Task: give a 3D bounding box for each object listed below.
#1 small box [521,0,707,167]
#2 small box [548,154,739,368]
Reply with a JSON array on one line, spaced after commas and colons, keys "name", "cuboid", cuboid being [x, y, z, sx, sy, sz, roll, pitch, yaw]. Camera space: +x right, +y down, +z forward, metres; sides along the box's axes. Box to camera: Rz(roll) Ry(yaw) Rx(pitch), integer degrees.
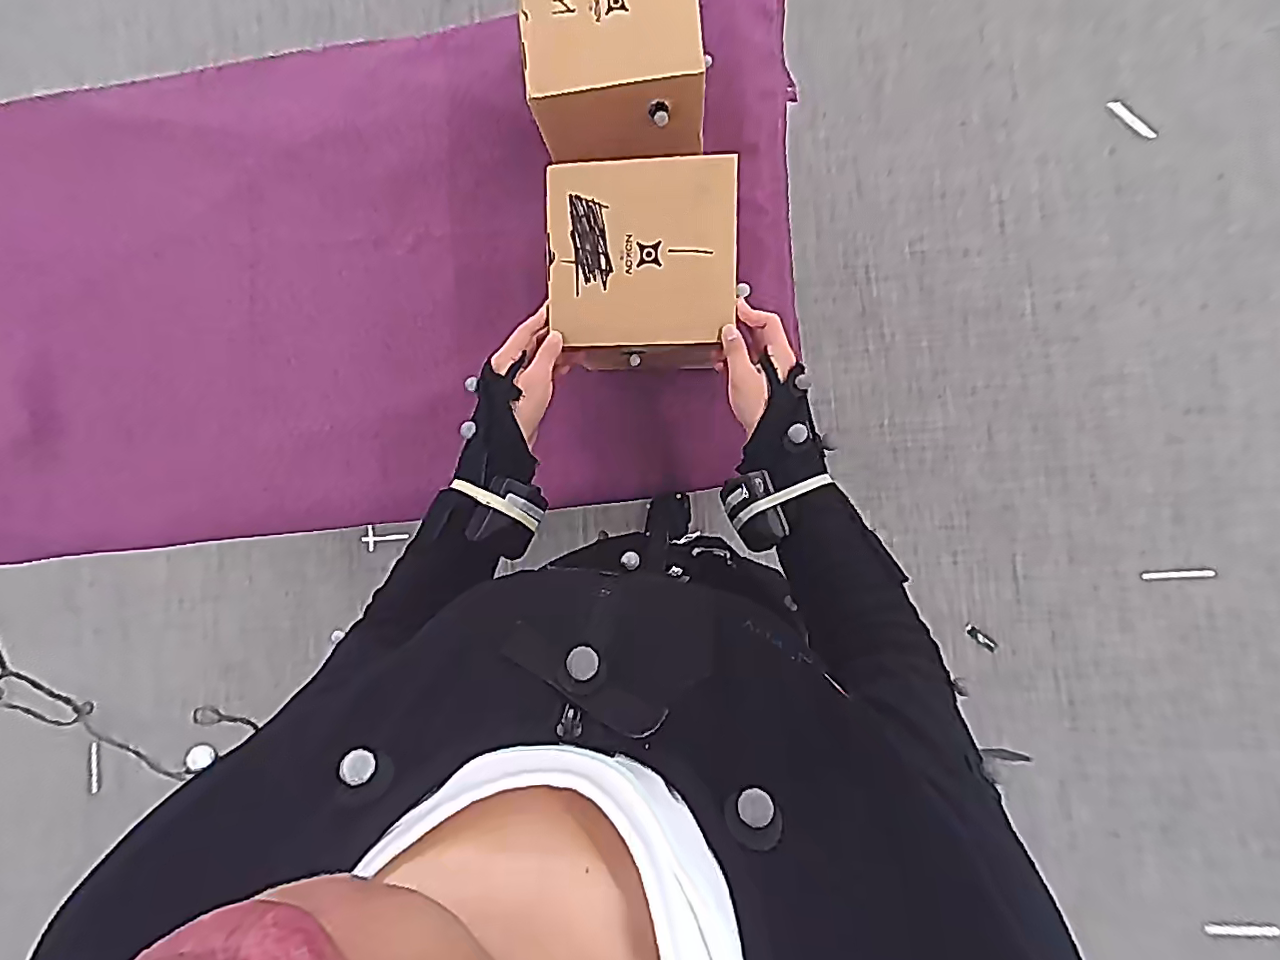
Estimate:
[{"name": "small box", "cuboid": [-0.022, -0.454, 0.596, 0.179, 0.176, 0.168, -5, 88, 6]}, {"name": "small box", "cuboid": [0.012, -0.211, 0.569, 0.179, 0.176, 0.168, 0, 95, 7]}]
